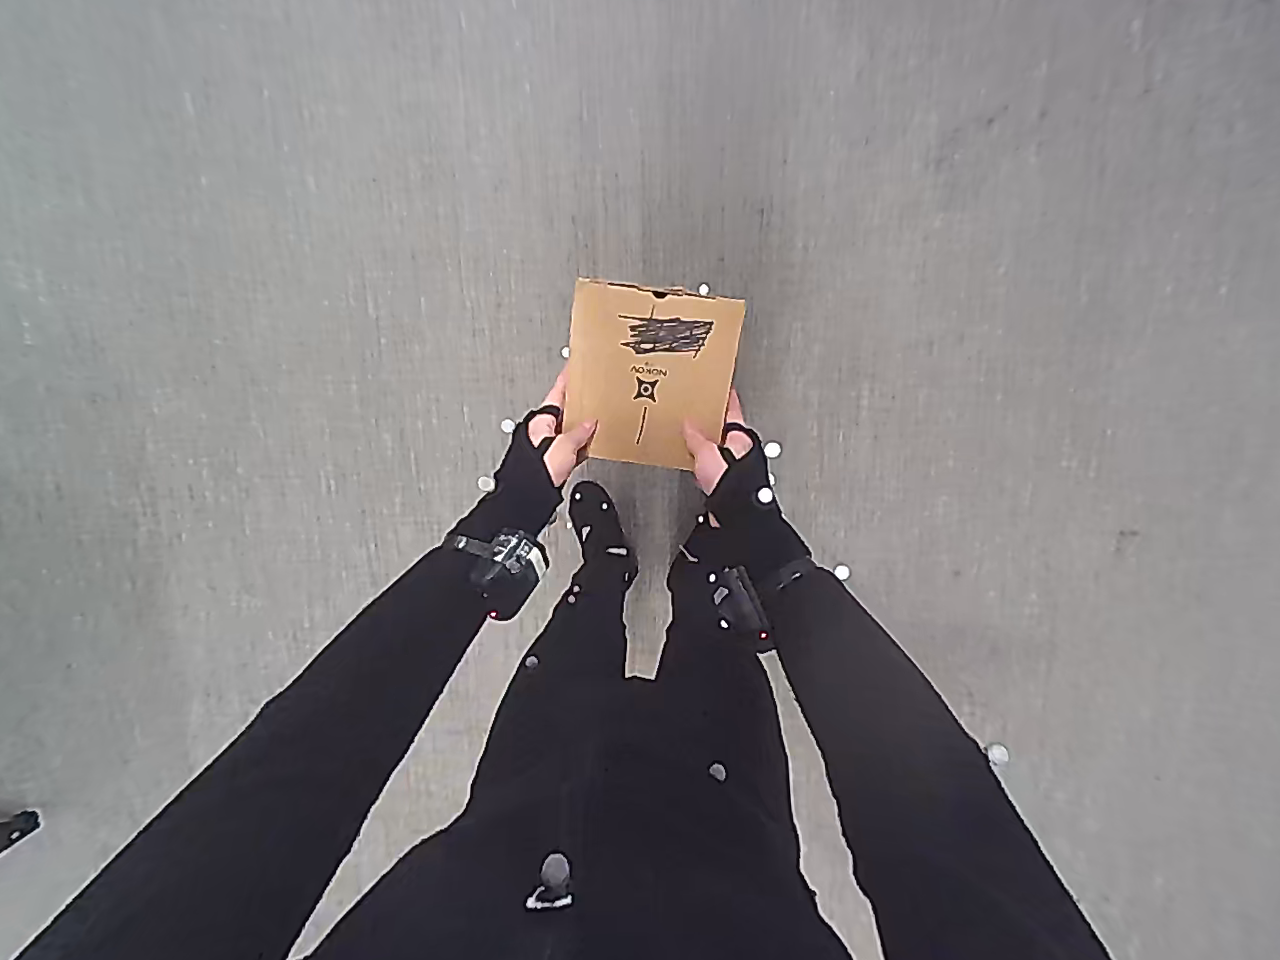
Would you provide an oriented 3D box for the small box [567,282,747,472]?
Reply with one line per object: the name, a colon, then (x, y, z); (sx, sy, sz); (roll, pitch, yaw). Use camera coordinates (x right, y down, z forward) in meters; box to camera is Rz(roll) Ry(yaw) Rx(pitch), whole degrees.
small box: (0.016, -0.124, 0.626); (0.168, 0.176, 0.179); (8, 108, 0)
